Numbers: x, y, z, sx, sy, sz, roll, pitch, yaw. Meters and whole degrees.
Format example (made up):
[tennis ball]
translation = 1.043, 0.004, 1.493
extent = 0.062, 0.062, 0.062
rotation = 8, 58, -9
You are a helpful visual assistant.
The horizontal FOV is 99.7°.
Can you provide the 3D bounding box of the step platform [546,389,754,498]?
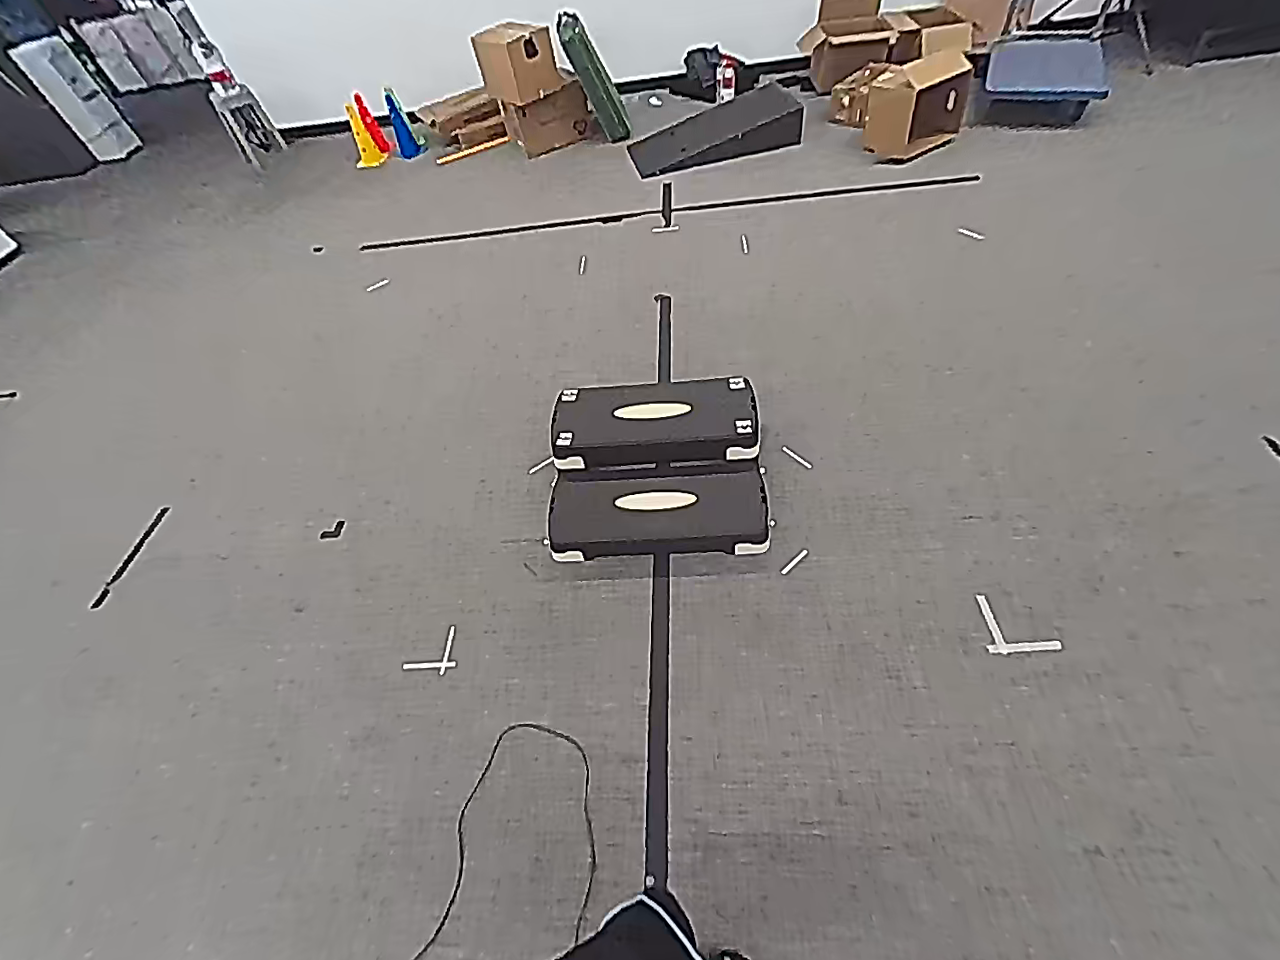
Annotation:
[step platform]
translation = 0.032, -0.126, 1.808
extent = 0.684, 0.204, 0.286
rotation = -3, 52, 5
